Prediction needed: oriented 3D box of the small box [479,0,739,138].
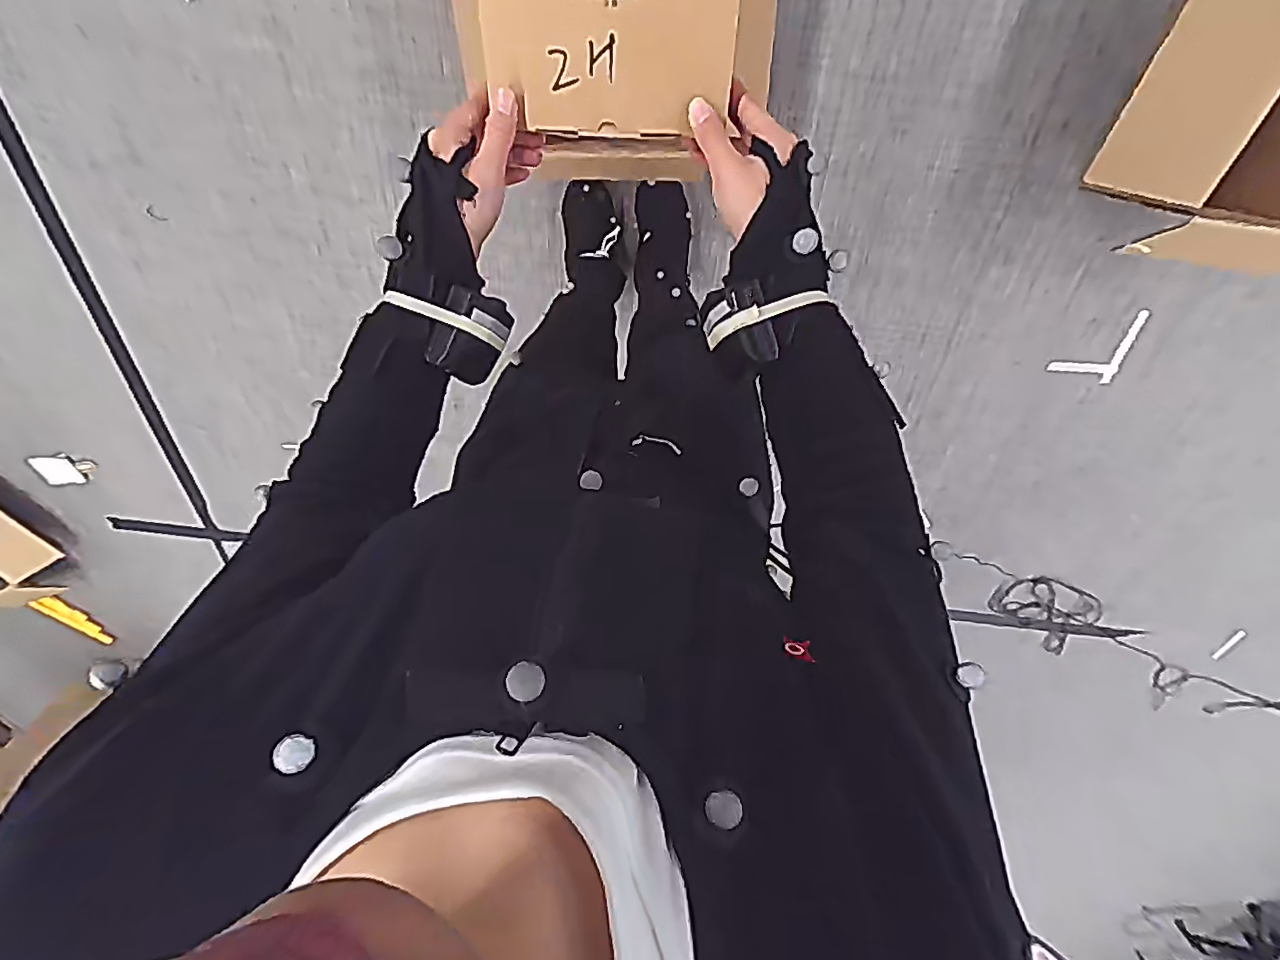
[{"bbox_3d":[-0.019,-0.361,0.392,0.168,0.176,0.179,2,127,0],"label":"small box"}]
